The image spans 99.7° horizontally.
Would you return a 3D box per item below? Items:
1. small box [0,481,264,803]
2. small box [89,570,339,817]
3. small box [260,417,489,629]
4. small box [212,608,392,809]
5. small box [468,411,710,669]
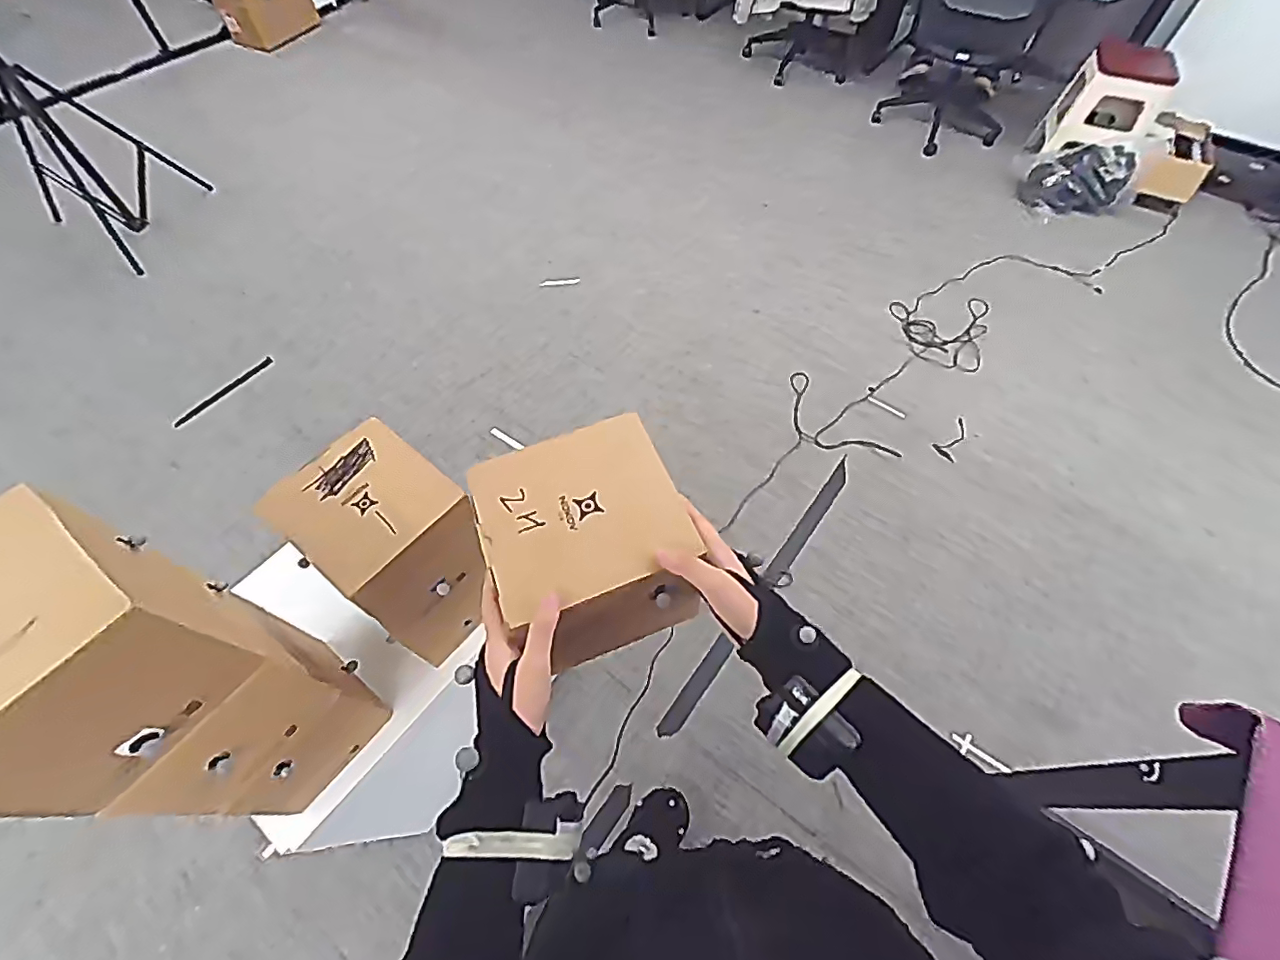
[{"bbox_3d":[-0.471,0.139,0.445,0.179,0.176,0.168,32,65,17],"label":"small box"},{"bbox_3d":[-0.472,0.225,0.583,0.179,0.176,0.168,32,64,18],"label":"small box"},{"bbox_3d":[-0.314,0.061,0.681,0.179,0.176,0.168,36,66,18],"label":"small box"},{"bbox_3d":[-0.476,0.309,0.721,0.179,0.176,0.168,33,65,19],"label":"small box"},{"bbox_3d":[-0.047,0.066,0.538,0.179,0.176,0.168,-20,59,-9],"label":"small box"}]
